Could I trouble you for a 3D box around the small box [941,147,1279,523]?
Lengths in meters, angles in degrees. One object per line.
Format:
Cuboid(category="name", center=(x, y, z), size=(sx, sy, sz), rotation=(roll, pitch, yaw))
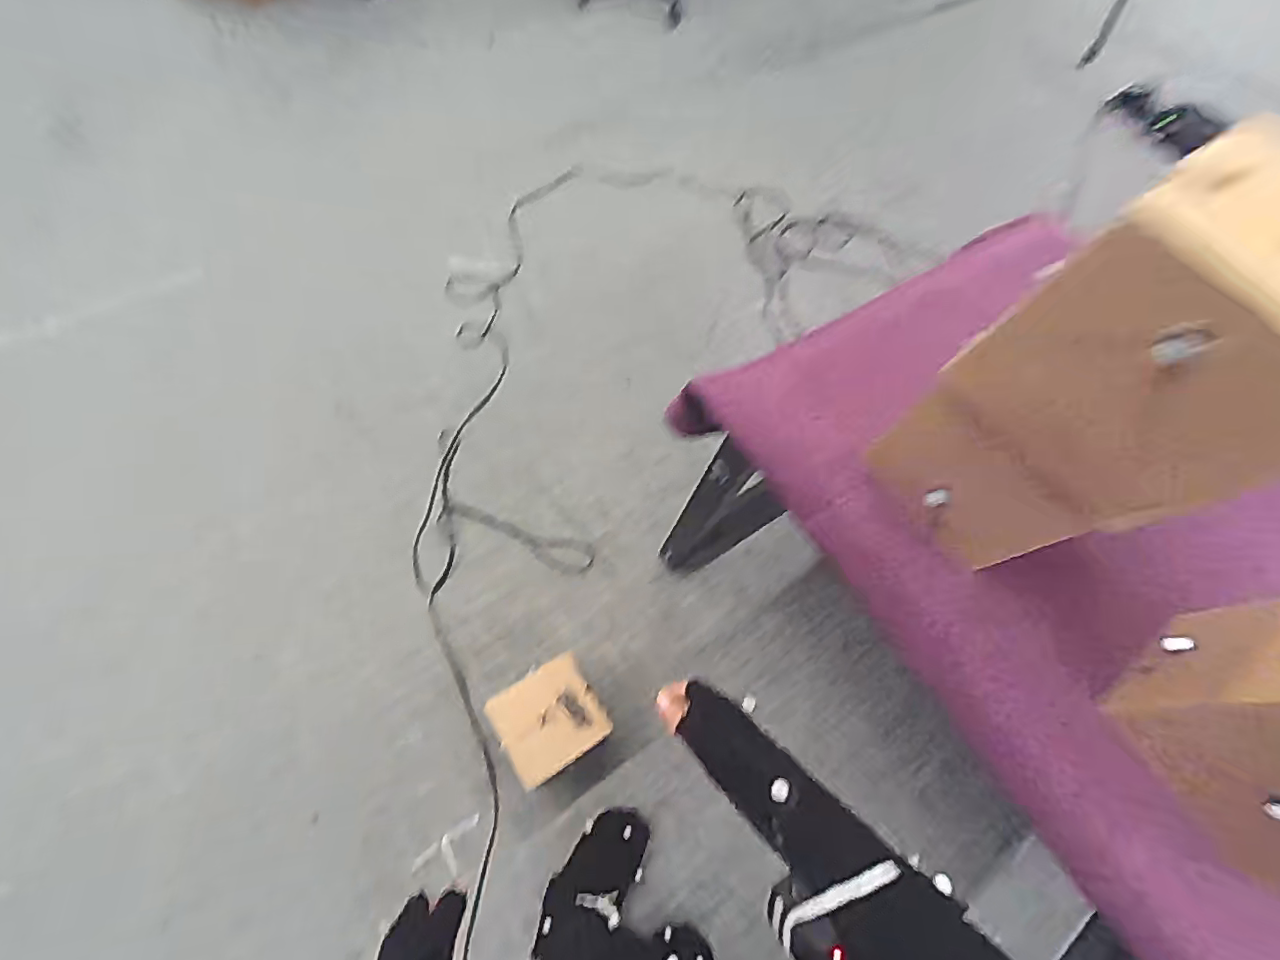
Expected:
Cuboid(category="small box", center=(0.373, -0.087, 0.392), size=(0.168, 0.176, 0.179), rotation=(-34, 75, -20))
